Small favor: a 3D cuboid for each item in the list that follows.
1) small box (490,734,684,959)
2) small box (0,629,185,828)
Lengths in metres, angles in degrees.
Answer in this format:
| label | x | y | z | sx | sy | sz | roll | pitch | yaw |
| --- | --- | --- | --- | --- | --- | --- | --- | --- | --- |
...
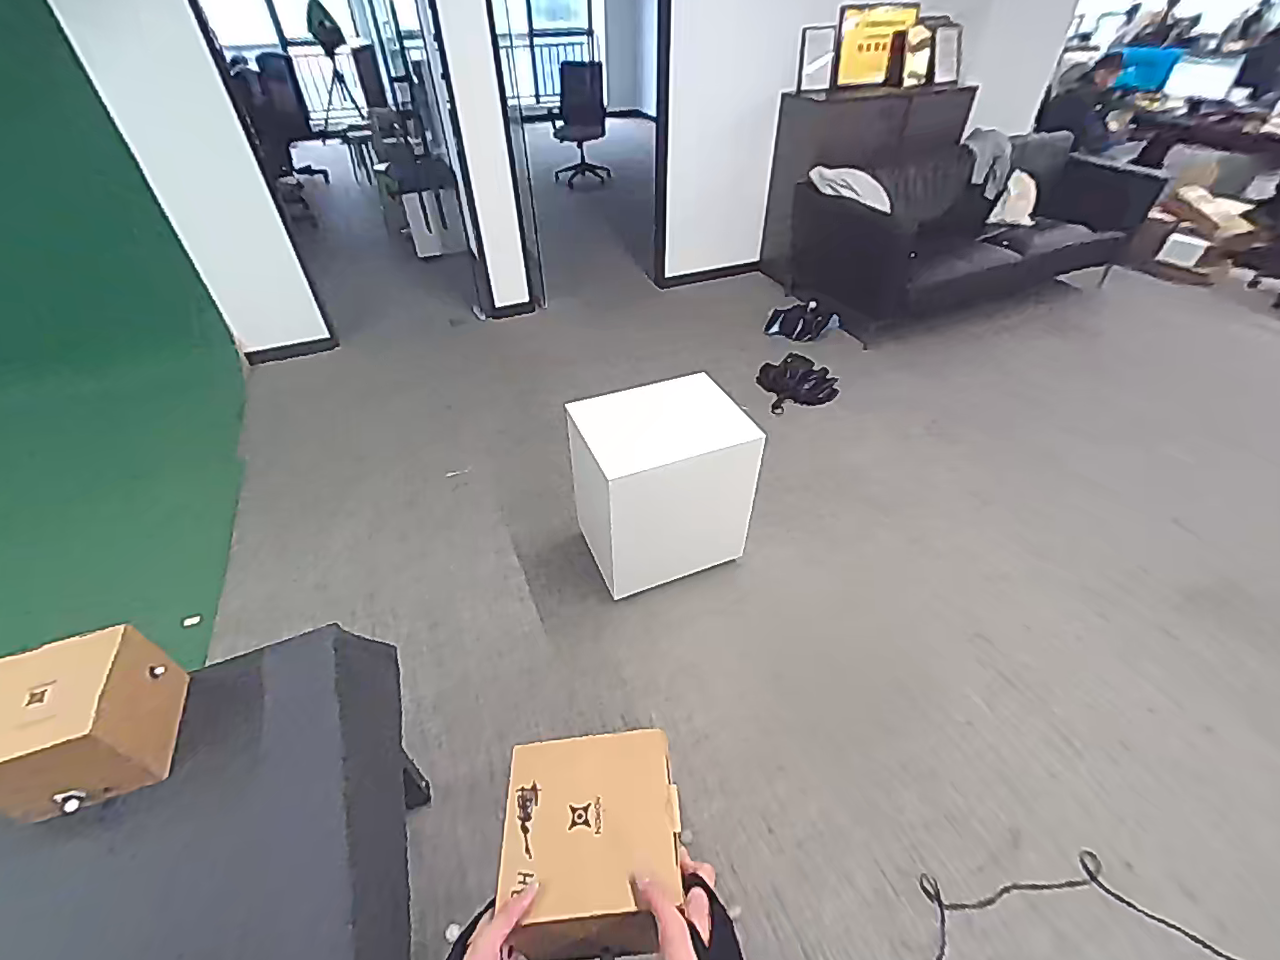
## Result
| label | x | y | z | sx | sy | sz | roll | pitch | yaw |
| --- | --- | --- | --- | --- | --- | --- | --- | --- | --- |
| small box | -0.046 | 0.405 | 0.592 | 0.179 | 0.176 | 0.168 | -6 | 37 | 0 |
| small box | -0.796 | 0.351 | 0.769 | 0.168 | 0.176 | 0.179 | -17 | 45 | -16 |
